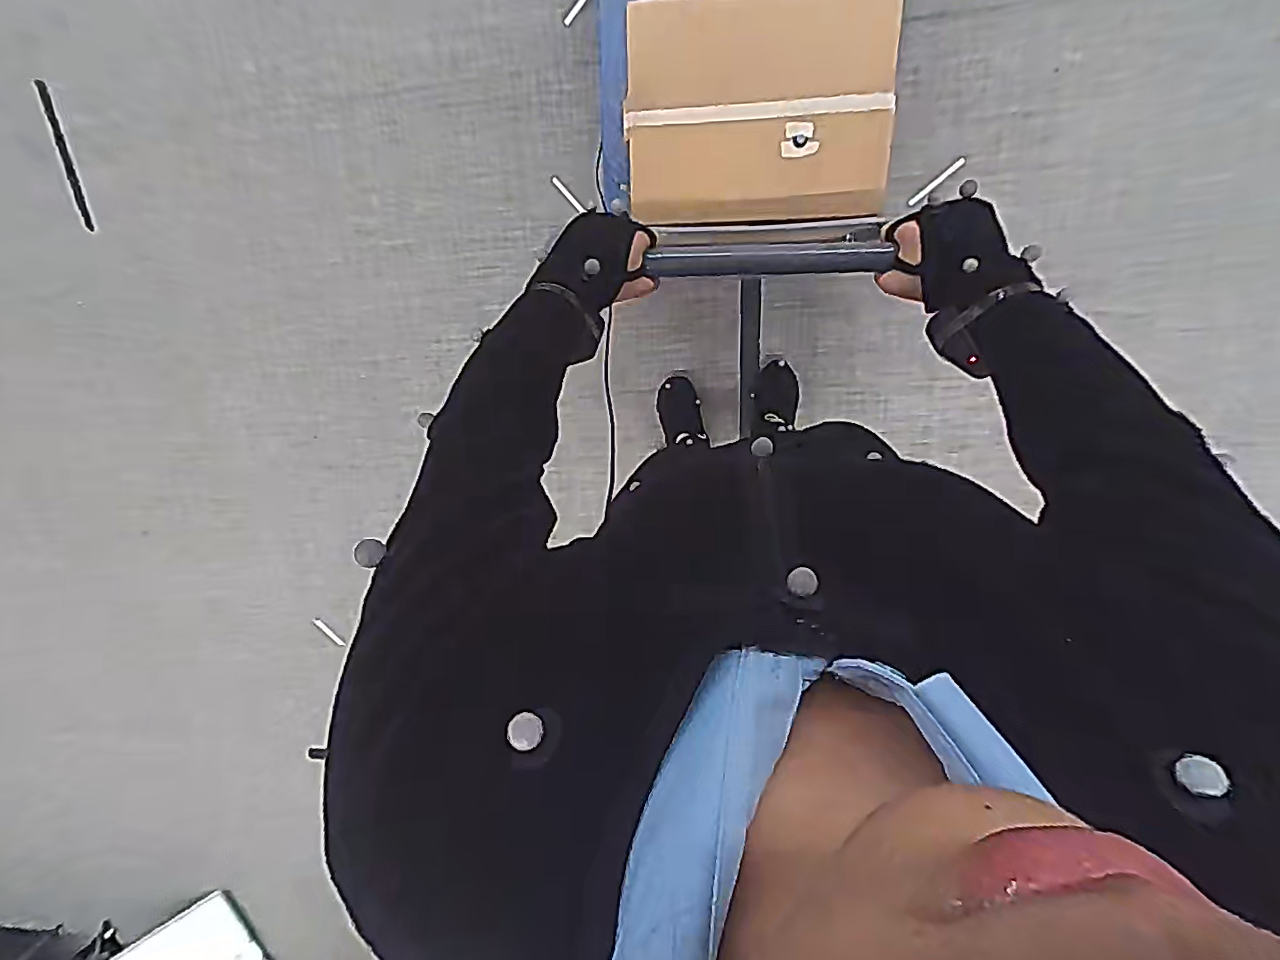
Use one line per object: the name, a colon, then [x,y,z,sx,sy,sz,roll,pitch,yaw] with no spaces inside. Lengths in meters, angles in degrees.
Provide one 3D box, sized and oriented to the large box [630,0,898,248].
large box: [0.202,-0.622,0.996,0.408,0.320,0.320,0,108,7]
